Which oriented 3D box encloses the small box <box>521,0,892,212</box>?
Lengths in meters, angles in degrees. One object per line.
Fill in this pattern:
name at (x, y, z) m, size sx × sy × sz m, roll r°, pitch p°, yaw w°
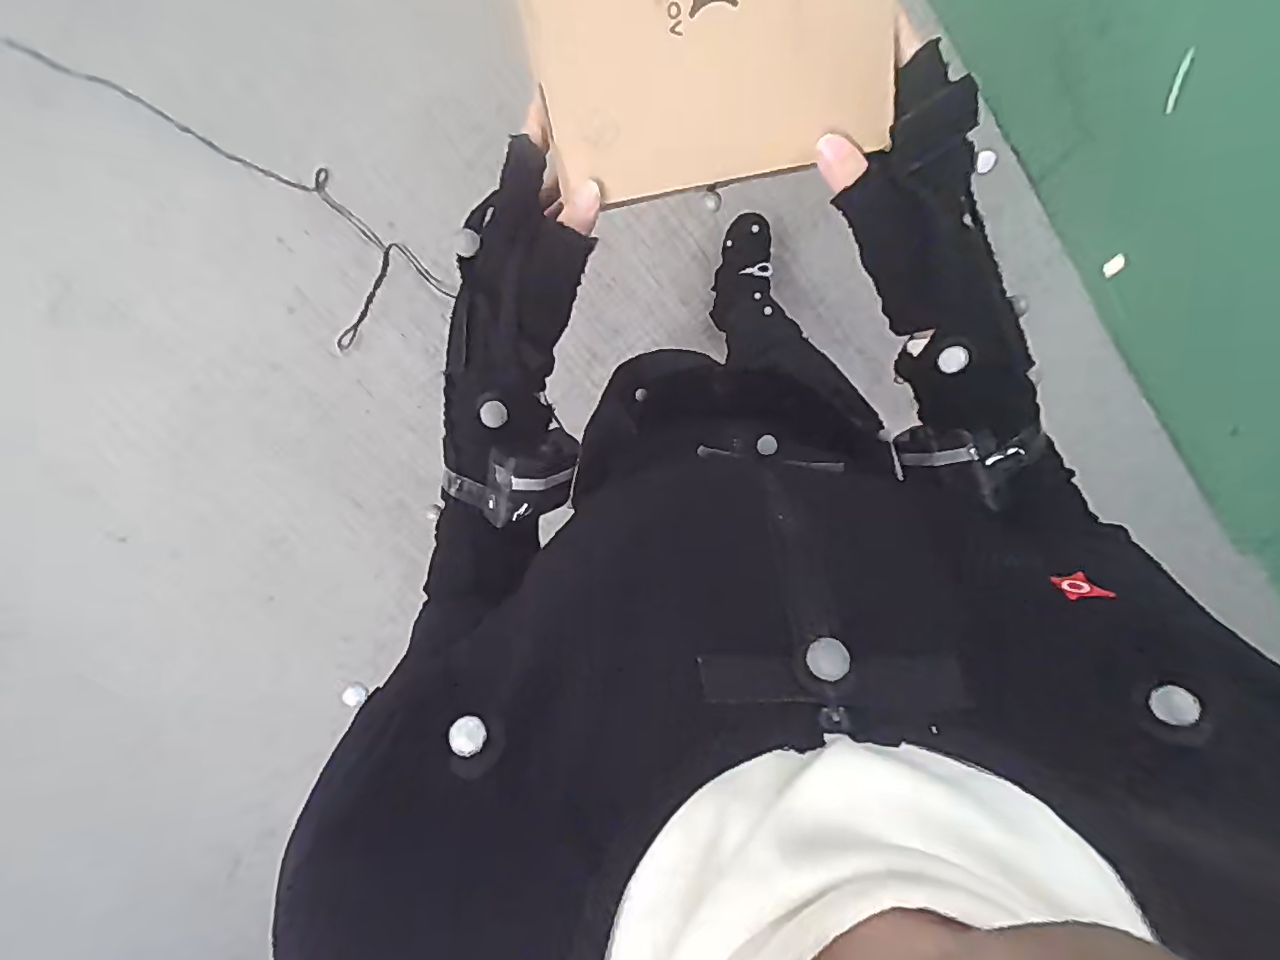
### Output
small box at (0.033, -0.269, 0.328) m, size 0.179 × 0.176 × 0.168 m, roll -10°, pitch 117°, yaw 7°
